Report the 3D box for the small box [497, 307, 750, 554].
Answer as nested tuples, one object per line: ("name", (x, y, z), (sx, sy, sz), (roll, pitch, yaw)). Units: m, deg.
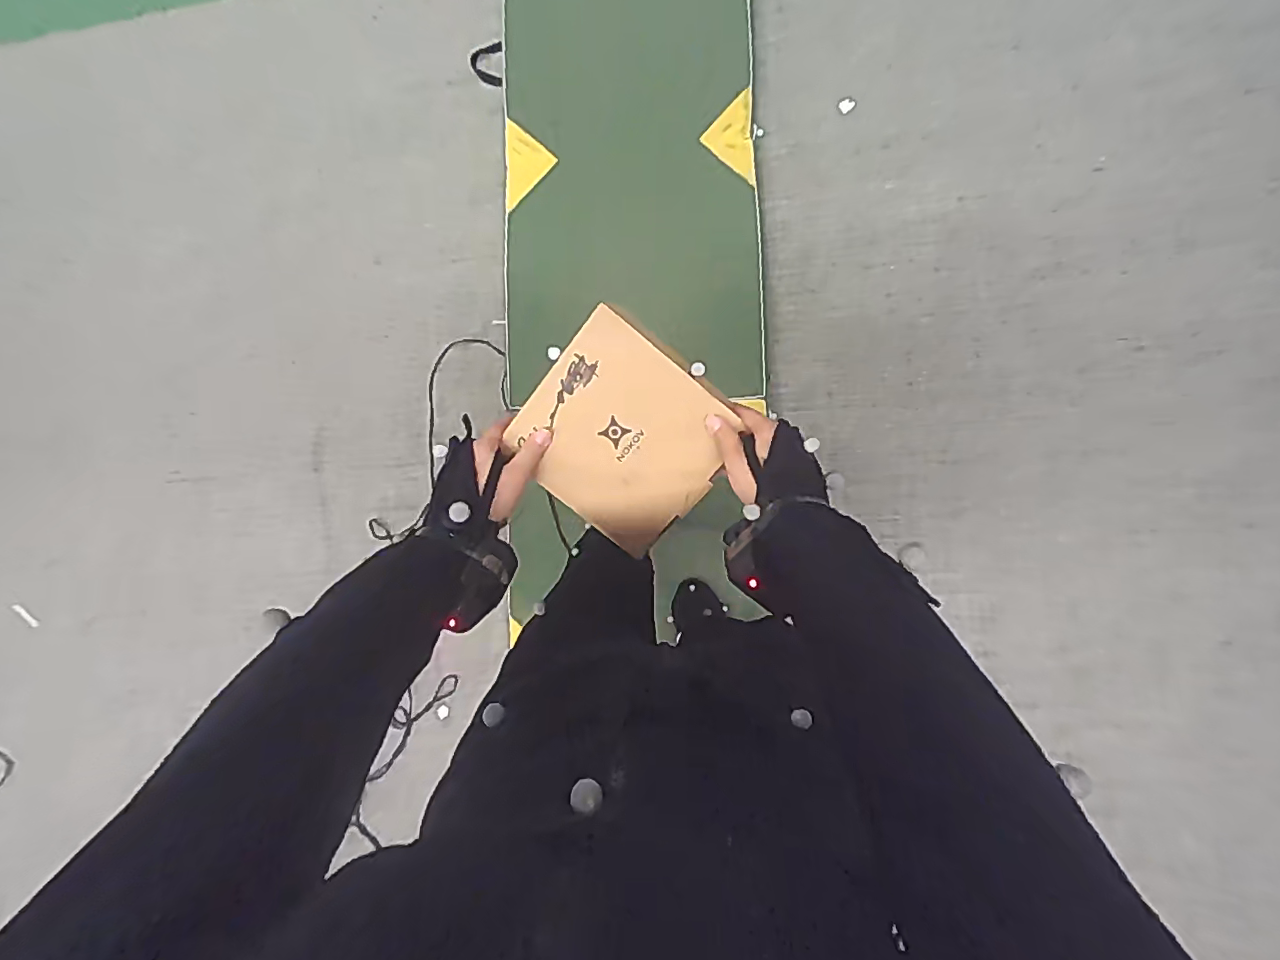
("small box", (-0.011, -0.061, 0.567), (0.179, 0.176, 0.168), (39, 104, -7))
